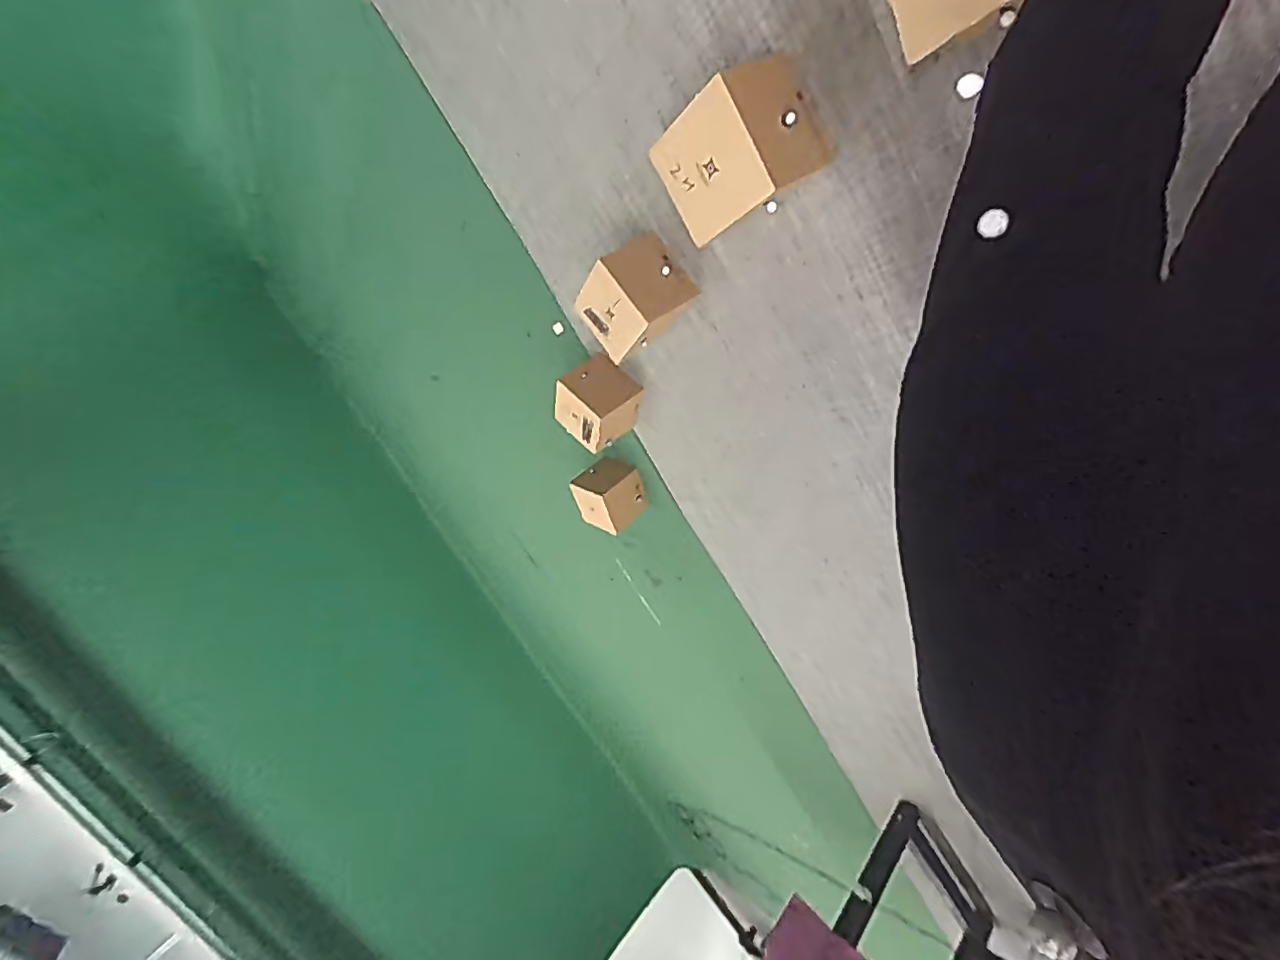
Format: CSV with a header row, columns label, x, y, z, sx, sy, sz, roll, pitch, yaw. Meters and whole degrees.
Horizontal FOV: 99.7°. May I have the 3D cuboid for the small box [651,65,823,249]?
label,x,y,z,sx,sy,sz,roll,pitch,yaw
small box,0.156,-0.495,0.834,0.179,0.176,0.168,-11,113,57

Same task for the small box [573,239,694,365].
label,x,y,z,sx,sy,sz,roll,pitch,yaw
small box,-0.013,-0.387,1.179,0.168,0.176,0.179,53,149,-2

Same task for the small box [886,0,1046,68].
label,x,y,z,sx,sy,sz,roll,pitch,yaw
small box,0.351,-0.545,0.518,0.179,0.176,0.168,-2,121,54

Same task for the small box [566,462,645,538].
label,x,y,z,sx,sy,sz,roll,pitch,yaw
small box,-0.111,0.059,1.795,0.179,0.176,0.168,19,137,43
